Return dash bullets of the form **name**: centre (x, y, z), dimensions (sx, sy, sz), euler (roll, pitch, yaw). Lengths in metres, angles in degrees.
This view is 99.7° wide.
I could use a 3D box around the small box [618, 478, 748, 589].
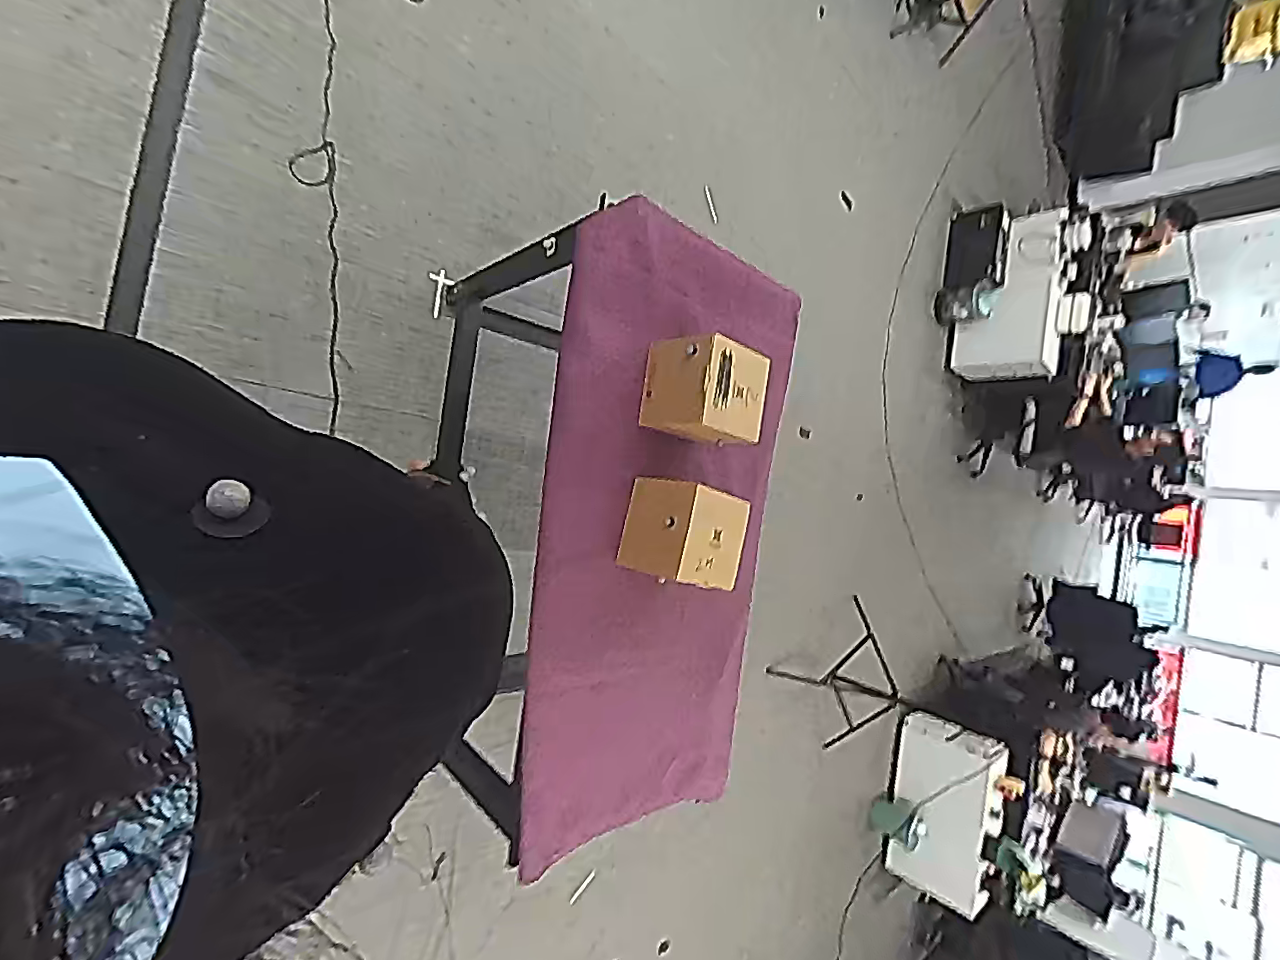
- **small box**: centre (0.080, 0.100, 1.051), dimensions (0.168, 0.176, 0.179), euler (20, 81, -41)
